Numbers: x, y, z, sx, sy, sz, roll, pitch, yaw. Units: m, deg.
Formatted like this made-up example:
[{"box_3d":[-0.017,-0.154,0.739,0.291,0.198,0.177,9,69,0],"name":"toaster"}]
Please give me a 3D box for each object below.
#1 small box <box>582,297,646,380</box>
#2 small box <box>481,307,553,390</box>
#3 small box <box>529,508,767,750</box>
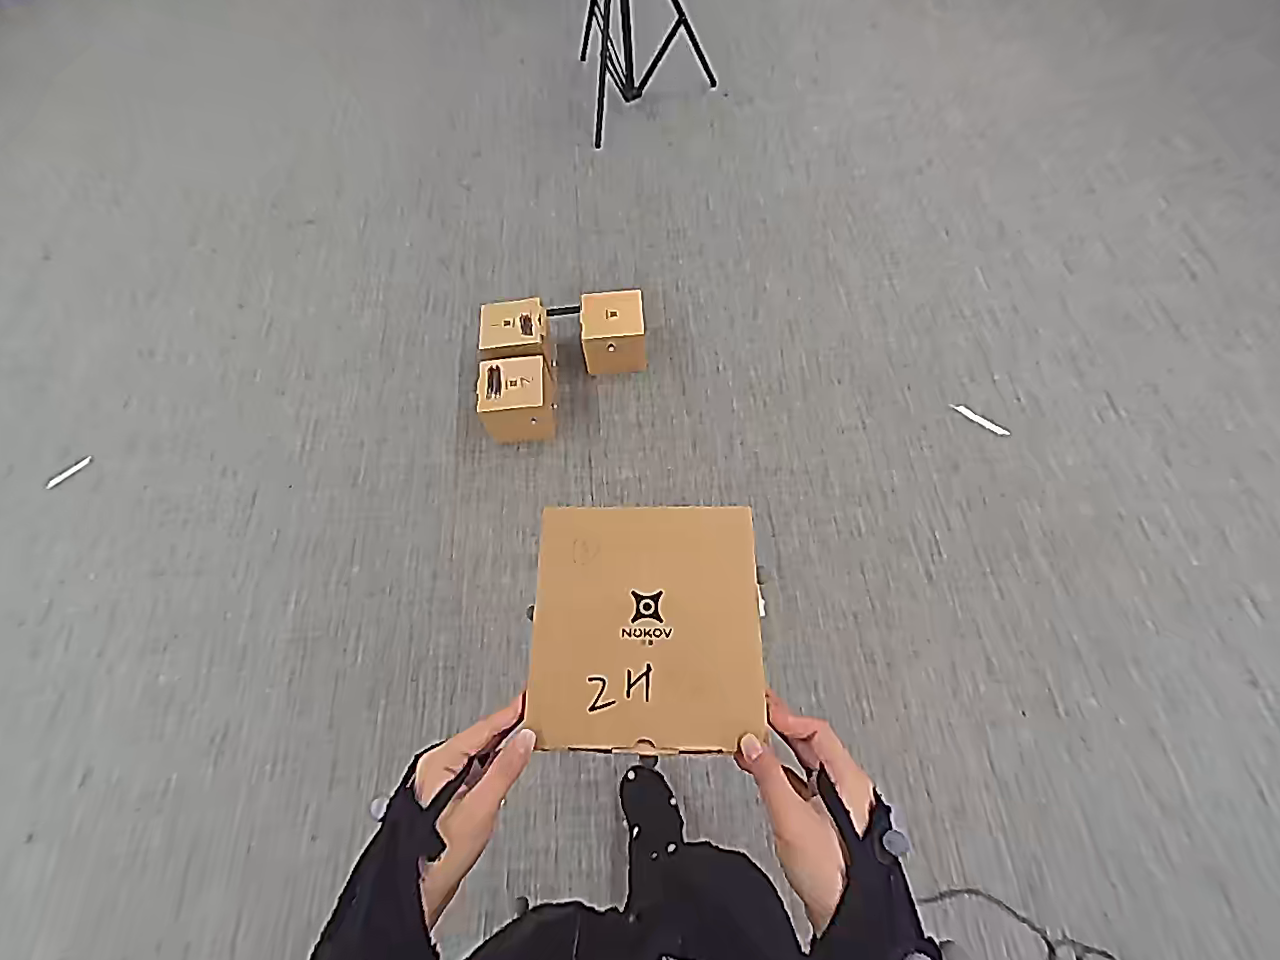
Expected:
[{"box_3d":[-0.072,-0.412,1.596,0.179,0.176,0.168,-5,64,2],"name":"small box"},{"box_3d":[-0.355,-0.386,1.601,0.179,0.176,0.168,-6,64,2],"name":"small box"},{"box_3d":[0.010,0.135,0.474,0.168,0.176,0.179,0,66,3],"name":"small box"}]
